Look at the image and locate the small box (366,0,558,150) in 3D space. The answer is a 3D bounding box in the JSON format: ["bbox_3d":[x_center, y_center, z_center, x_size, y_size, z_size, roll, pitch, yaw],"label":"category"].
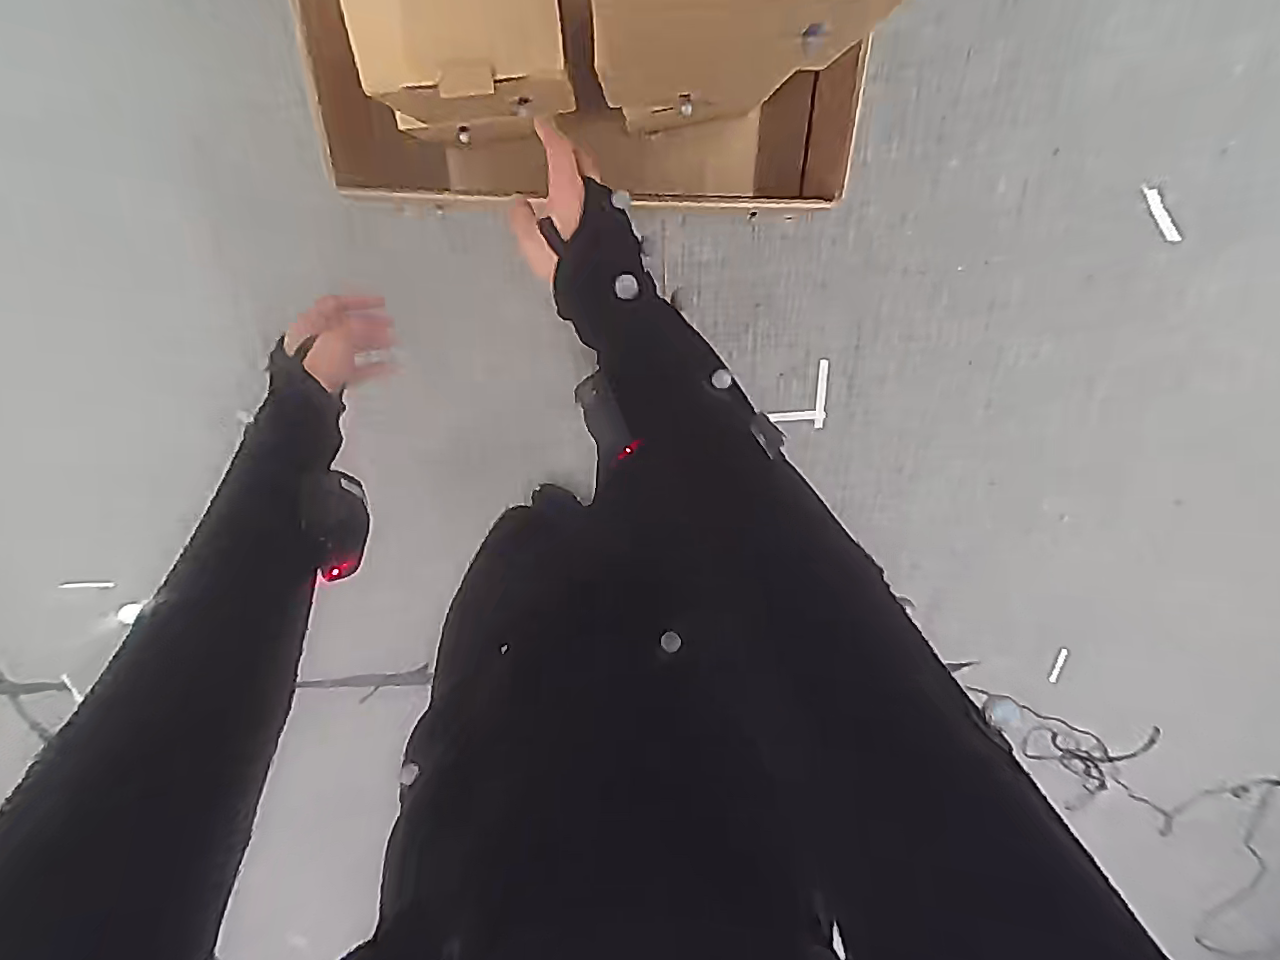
[{"bbox_3d":[-0.192,-0.493,0.616,0.168,0.176,0.179,-5,116,0],"label":"small box"}]
